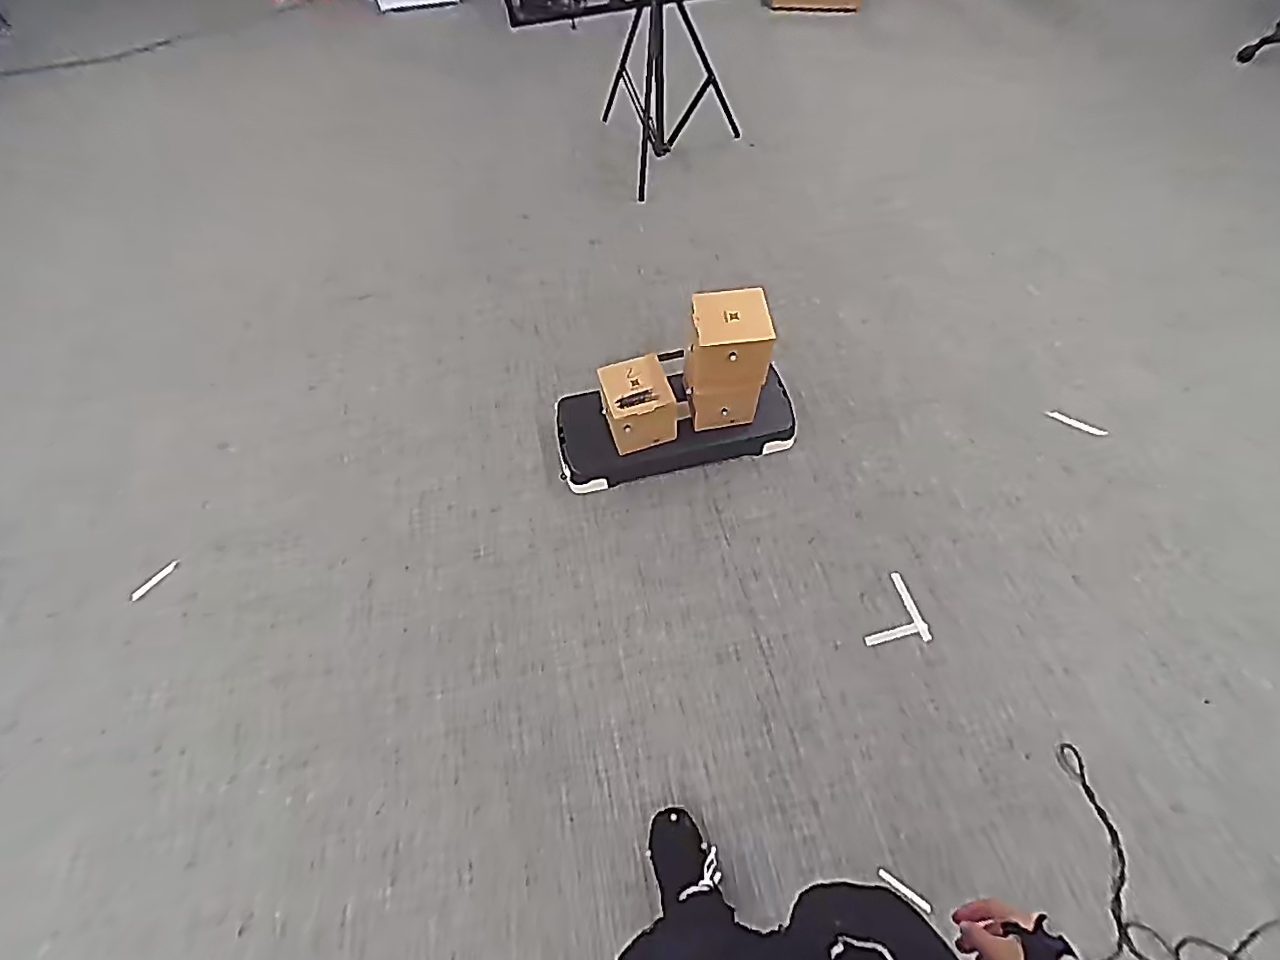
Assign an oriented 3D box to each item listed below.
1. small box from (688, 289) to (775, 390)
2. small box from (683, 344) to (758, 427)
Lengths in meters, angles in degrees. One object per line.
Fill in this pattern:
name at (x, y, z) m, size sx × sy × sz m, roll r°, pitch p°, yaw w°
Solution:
small box at (0.215, -0.338, 1.321) m, size 0.179 × 0.176 × 0.168 m, roll -6°, pitch 62°, yaw 0°
small box at (0.212, -0.258, 1.463) m, size 0.168 × 0.176 × 0.179 m, roll -8°, pitch 61°, yaw -2°
